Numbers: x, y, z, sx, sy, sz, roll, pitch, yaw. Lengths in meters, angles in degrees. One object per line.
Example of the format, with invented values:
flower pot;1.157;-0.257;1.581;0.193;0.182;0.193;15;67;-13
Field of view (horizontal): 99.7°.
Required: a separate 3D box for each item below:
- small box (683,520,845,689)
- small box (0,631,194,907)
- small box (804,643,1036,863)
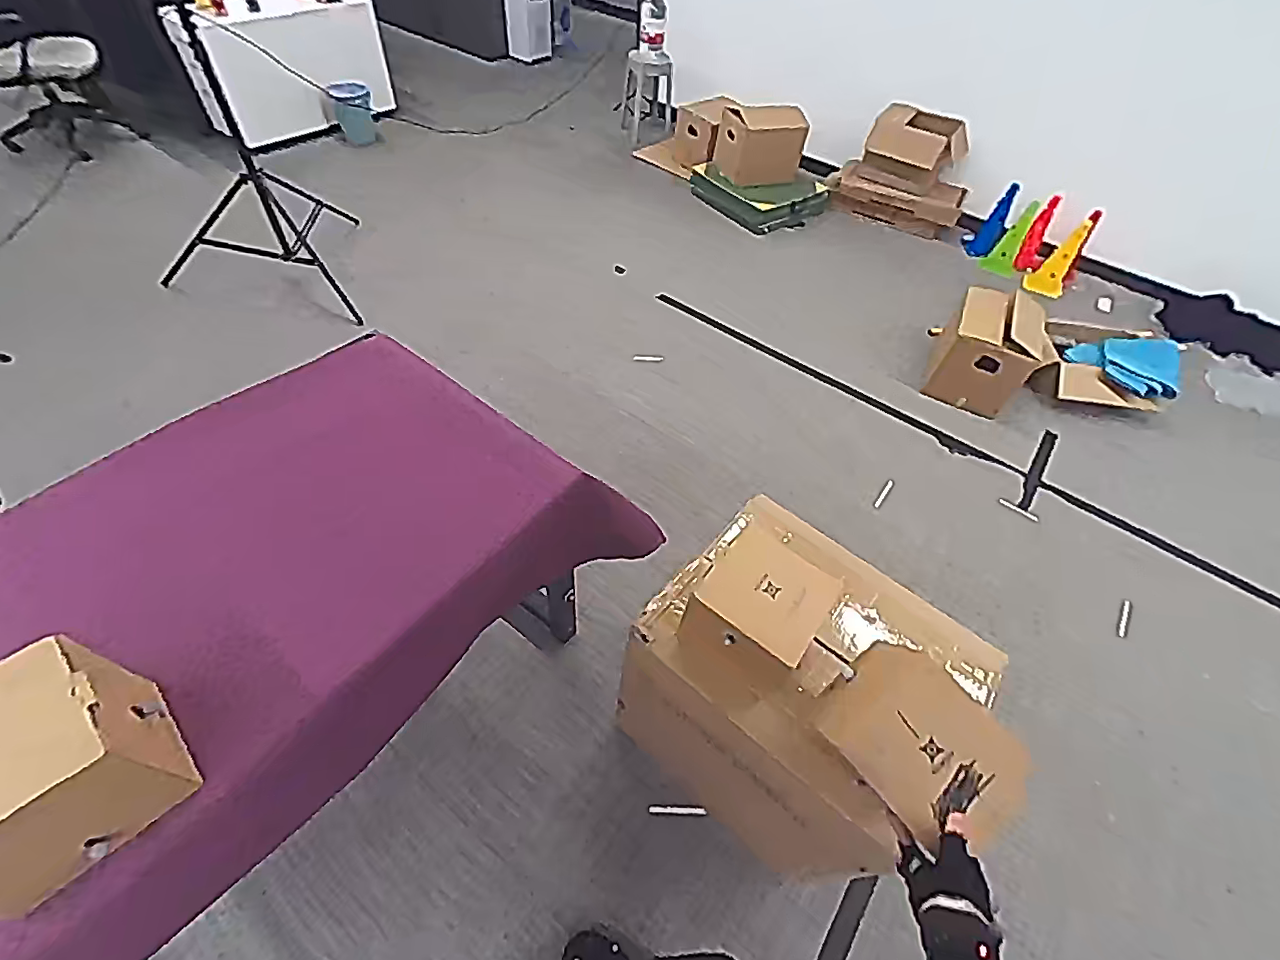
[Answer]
small box;0.186;0.203;0.862;0.179;0.176;0.168;33;58;18
small box;-0.620;0.301;0.568;0.168;0.176;0.179;39;57;24
small box;0.350;0.337;0.714;0.168;0.176;0.179;-41;80;-6
